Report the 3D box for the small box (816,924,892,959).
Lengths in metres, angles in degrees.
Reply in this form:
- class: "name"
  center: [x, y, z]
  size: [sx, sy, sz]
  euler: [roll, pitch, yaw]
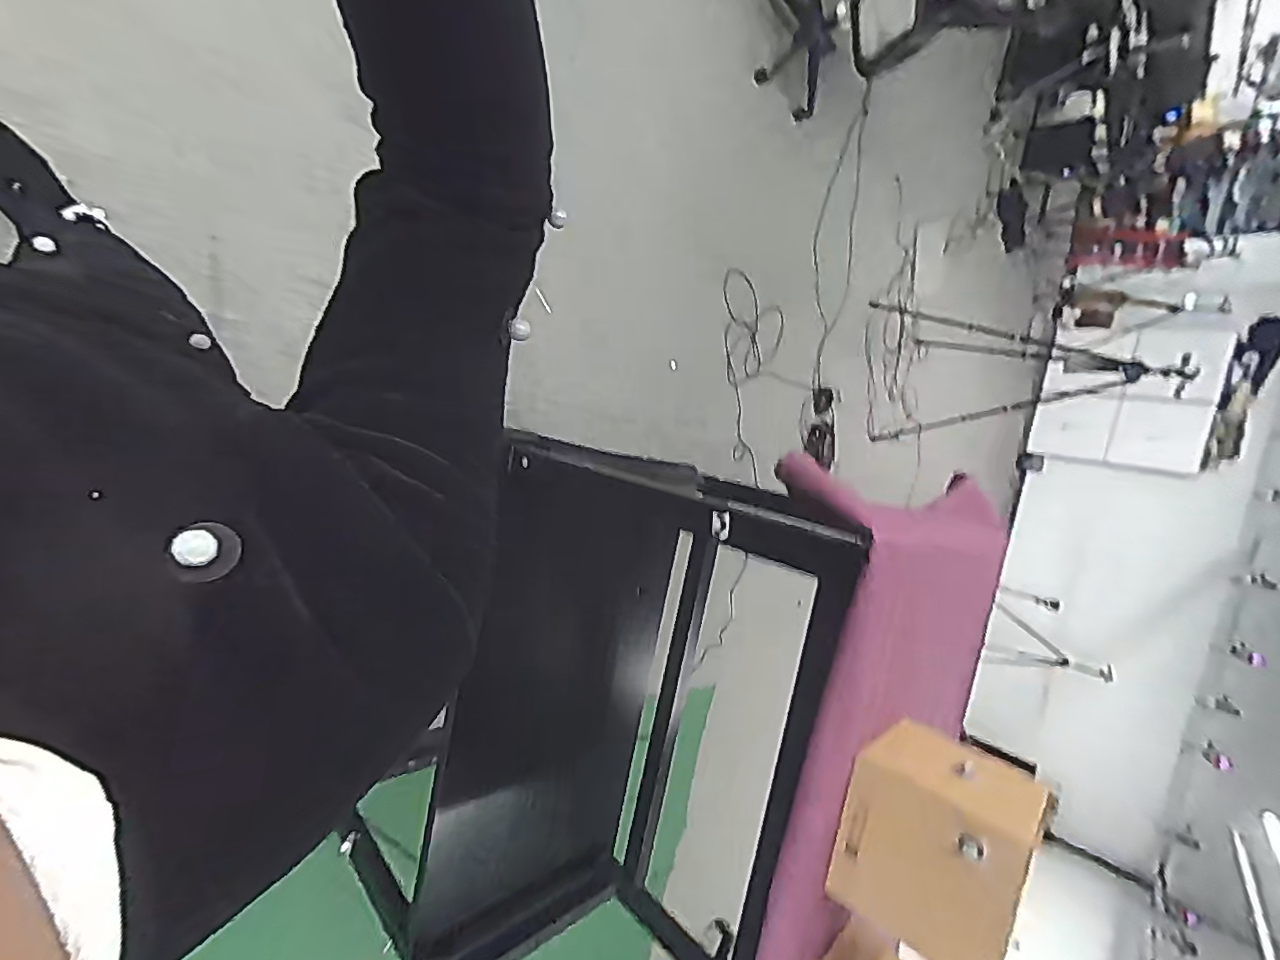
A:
- class: "small box"
  center: [0.271, 0.697, 0.639]
  size: [0.168, 0.176, 0.179]
  euler: [7, 97, -48]
